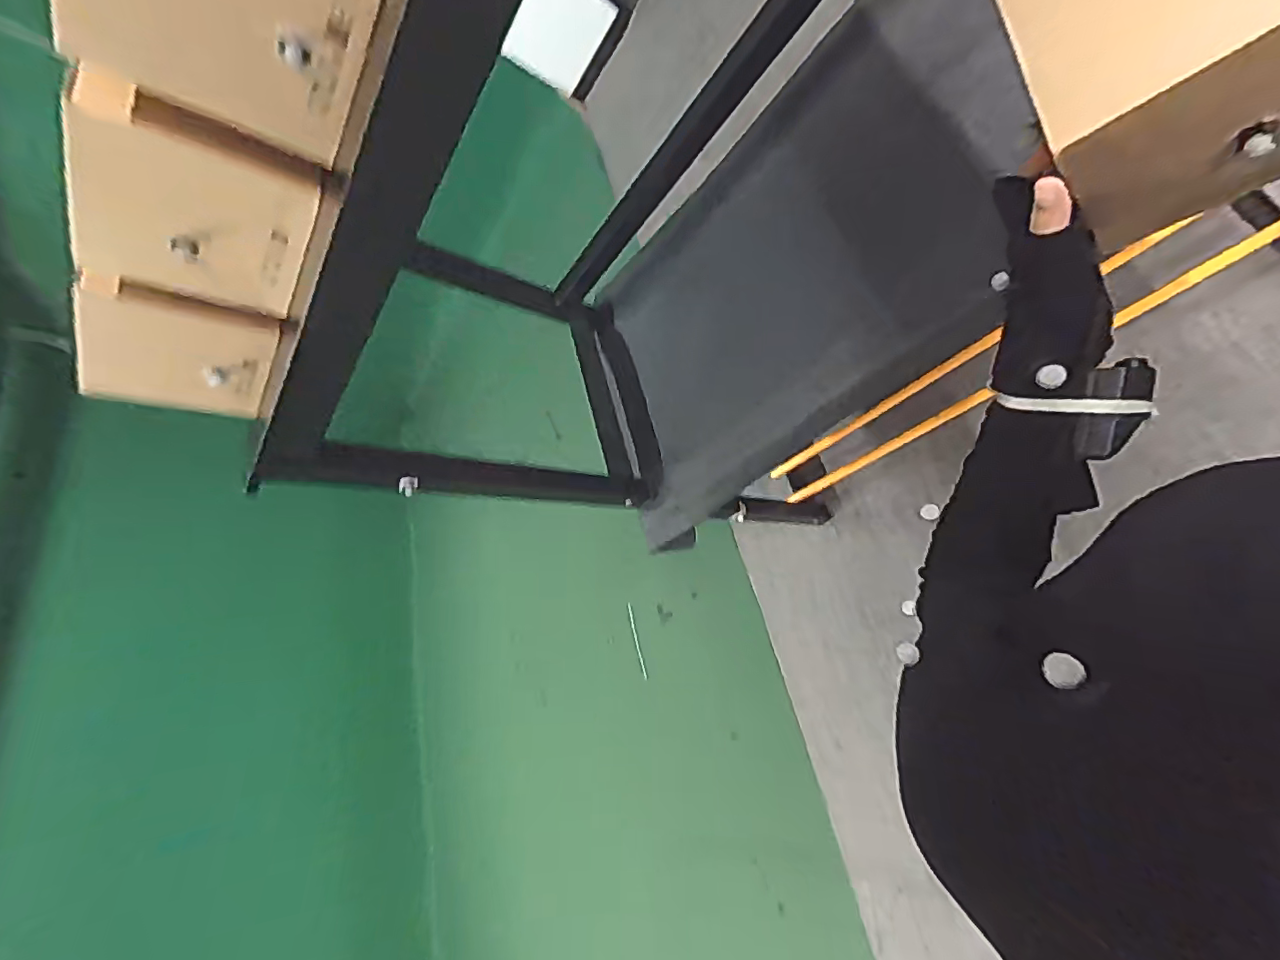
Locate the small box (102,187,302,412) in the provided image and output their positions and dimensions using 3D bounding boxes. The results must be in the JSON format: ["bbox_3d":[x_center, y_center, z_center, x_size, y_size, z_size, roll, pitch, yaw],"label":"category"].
[{"bbox_3d":[-0.528,-0.204,0.661,0.168,0.176,0.179,-40,58,39],"label":"small box"}]

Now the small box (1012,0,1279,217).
[{"bbox_3d":[0.344,-0.287,0.319,0.168,0.176,0.179,-21,71,46],"label":"small box"}]
